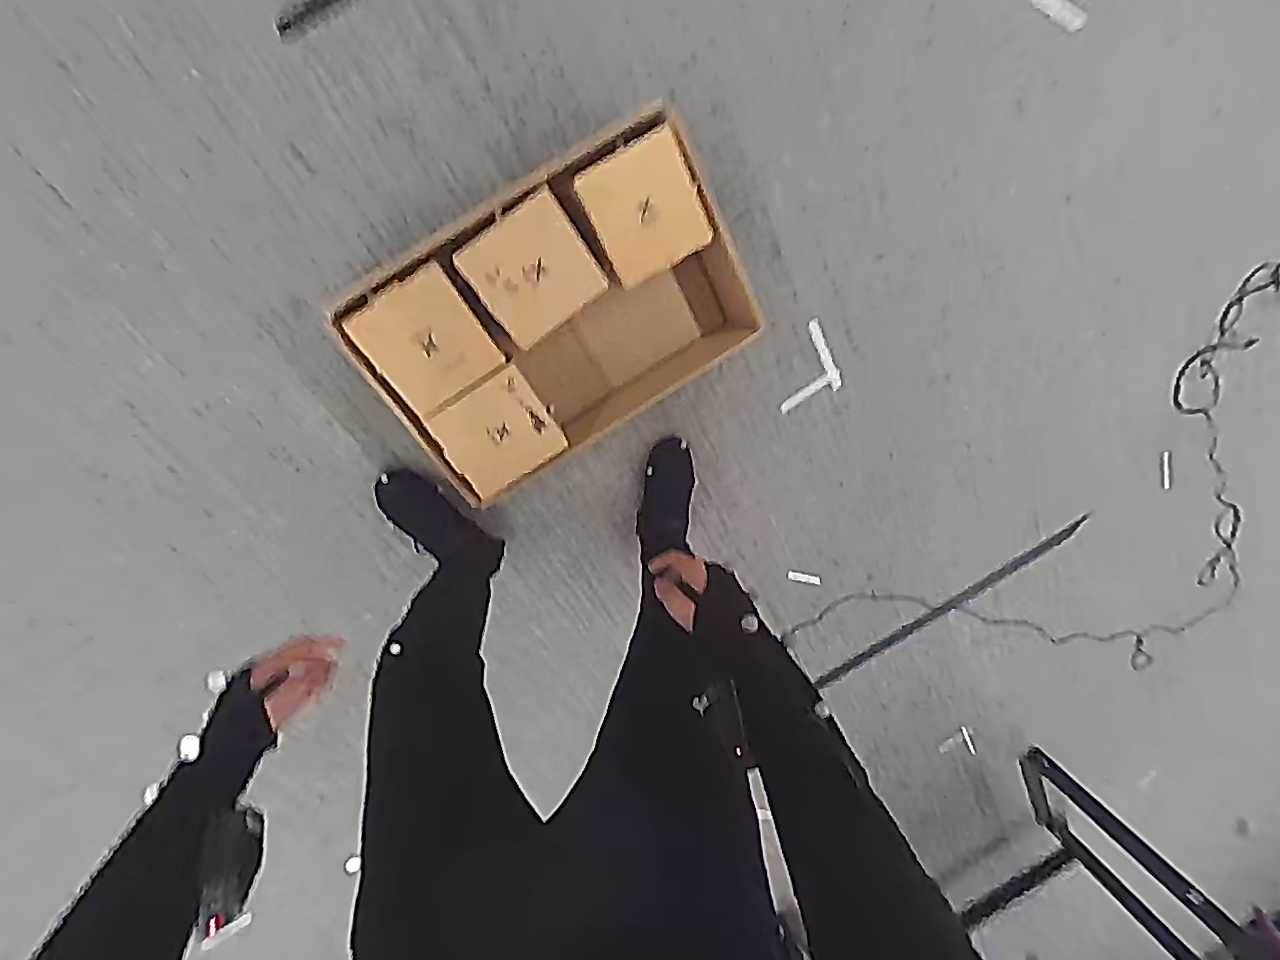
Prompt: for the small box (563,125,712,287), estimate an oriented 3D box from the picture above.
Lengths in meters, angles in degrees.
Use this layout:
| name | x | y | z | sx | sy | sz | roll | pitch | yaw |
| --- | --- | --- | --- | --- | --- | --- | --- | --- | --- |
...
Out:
| name | x | y | z | sx | sy | sz | roll | pitch | yaw |
| --- | --- | --- | --- | --- | --- | --- | --- | --- | --- |
| small box | -0.012 | -0.442 | 0.892 | 0.168 | 0.176 | 0.179 | -31 | 119 | 0 |
